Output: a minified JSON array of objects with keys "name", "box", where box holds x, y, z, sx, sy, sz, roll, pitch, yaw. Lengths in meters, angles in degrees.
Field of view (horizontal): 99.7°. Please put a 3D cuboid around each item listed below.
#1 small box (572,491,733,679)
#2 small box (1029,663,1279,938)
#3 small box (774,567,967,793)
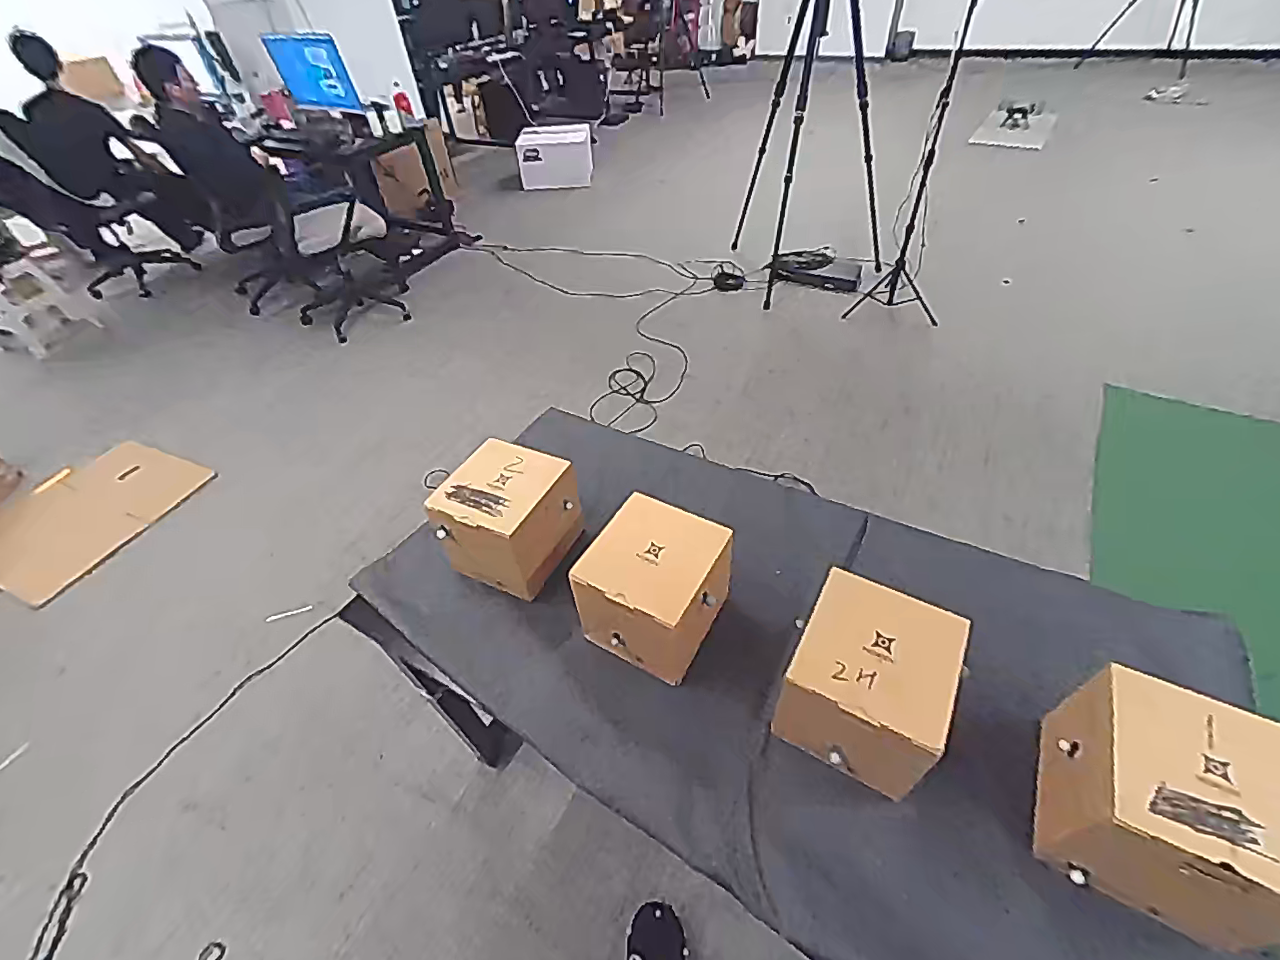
[{"name":"small box","box":[0.021,0.154,0.797,0.168,0.176,0.179,22,52,23]},{"name":"small box","box":[0.545,0.339,0.575,0.168,0.176,0.179,21,50,23]},{"name":"small box","box":[0.280,0.250,0.681,0.168,0.176,0.179,22,51,24]}]
